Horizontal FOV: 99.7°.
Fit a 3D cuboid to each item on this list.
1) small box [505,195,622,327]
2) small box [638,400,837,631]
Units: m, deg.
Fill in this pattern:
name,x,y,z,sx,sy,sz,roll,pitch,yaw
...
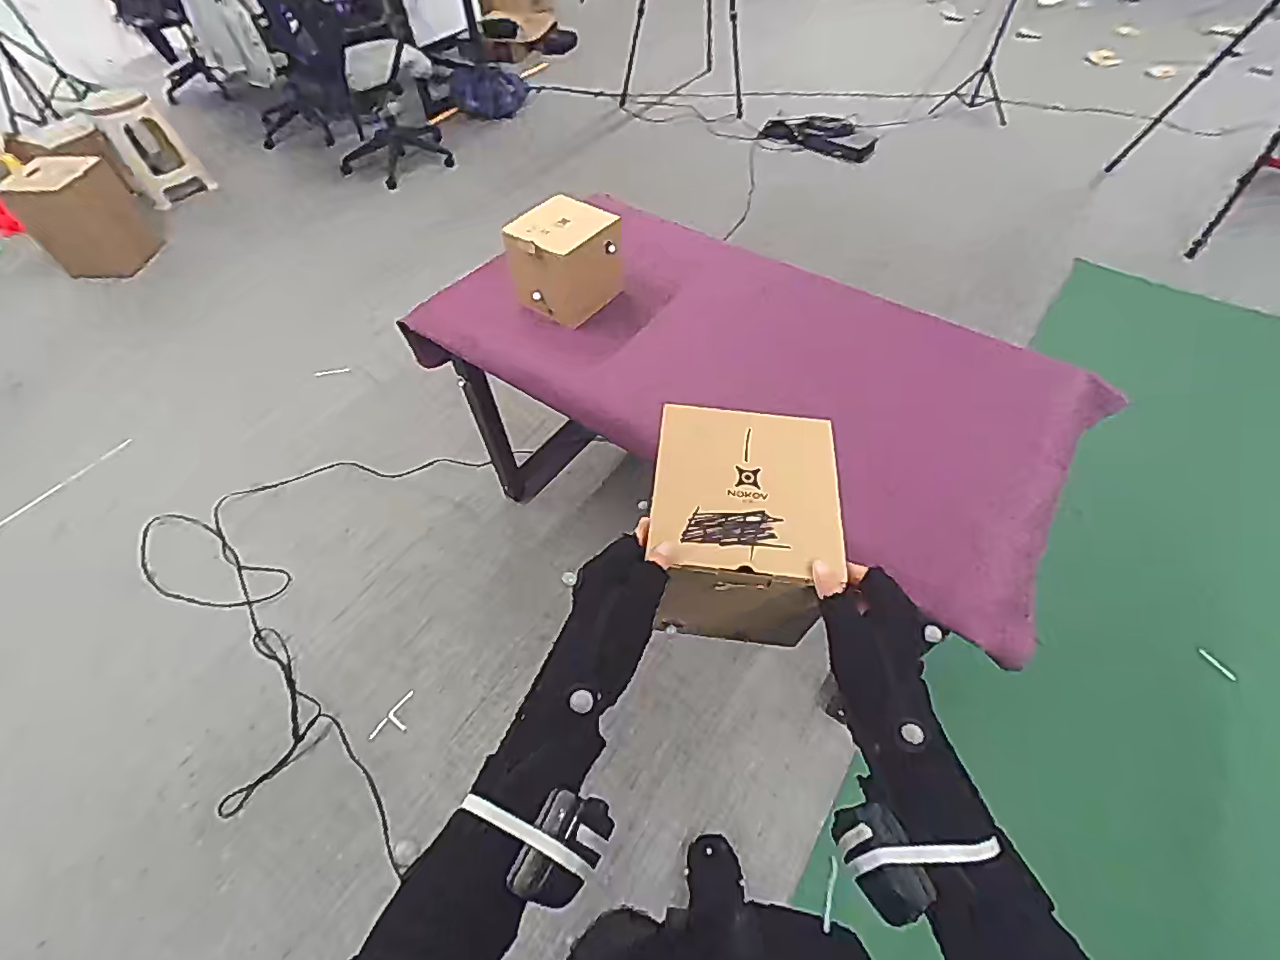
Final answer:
name,x,y,z,sx,sy,sz,roll,pitch,yaw
small box,-0.151,-0.456,1.130,0.168,0.176,0.179,31,61,22
small box,0.089,0.043,0.555,0.168,0.176,0.179,5,56,3
